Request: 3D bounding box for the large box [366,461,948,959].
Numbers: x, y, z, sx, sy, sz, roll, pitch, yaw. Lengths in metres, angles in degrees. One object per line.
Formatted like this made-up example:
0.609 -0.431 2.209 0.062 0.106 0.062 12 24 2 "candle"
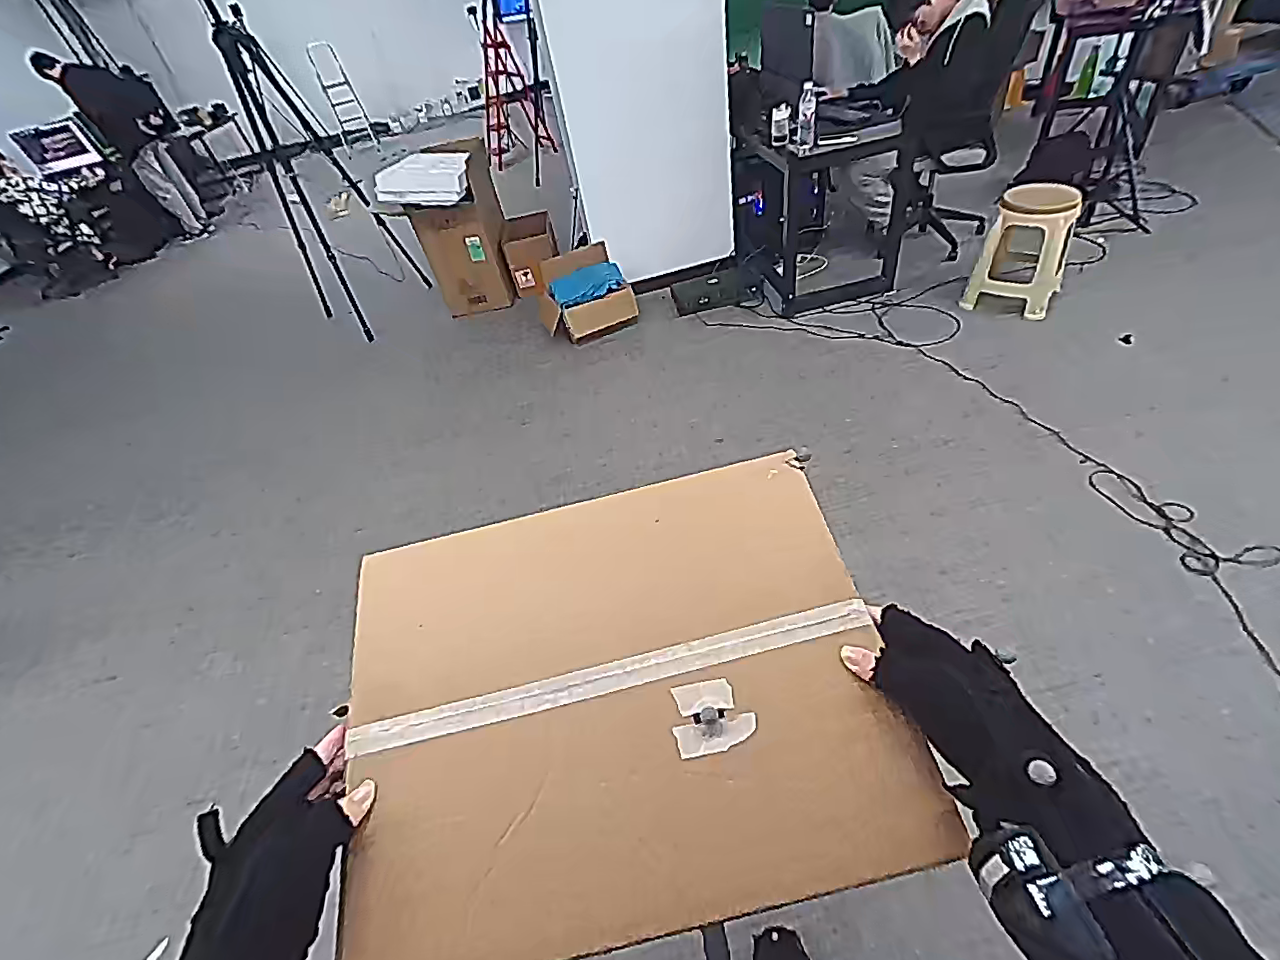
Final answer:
-0.002 0.232 0.556 0.408 0.320 0.320 -14 59 -1 "large box"
